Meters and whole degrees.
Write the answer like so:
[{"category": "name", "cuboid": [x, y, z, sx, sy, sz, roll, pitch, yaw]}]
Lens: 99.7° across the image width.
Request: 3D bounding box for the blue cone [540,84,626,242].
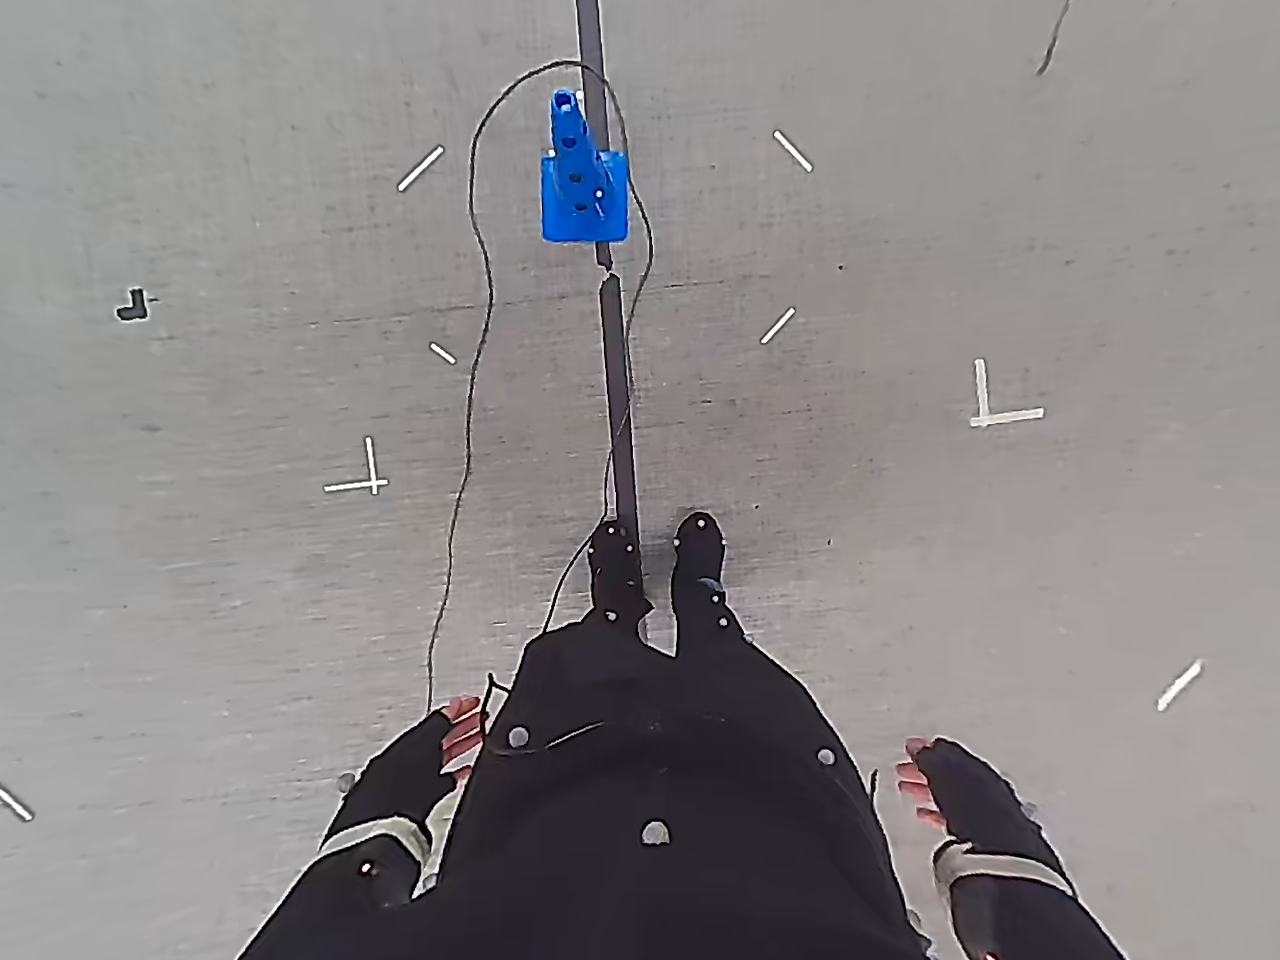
[{"category": "blue cone", "cuboid": [-0.131, -0.626, 1.061, 0.193, 0.380, 0.192, -2, 94, 1]}]
